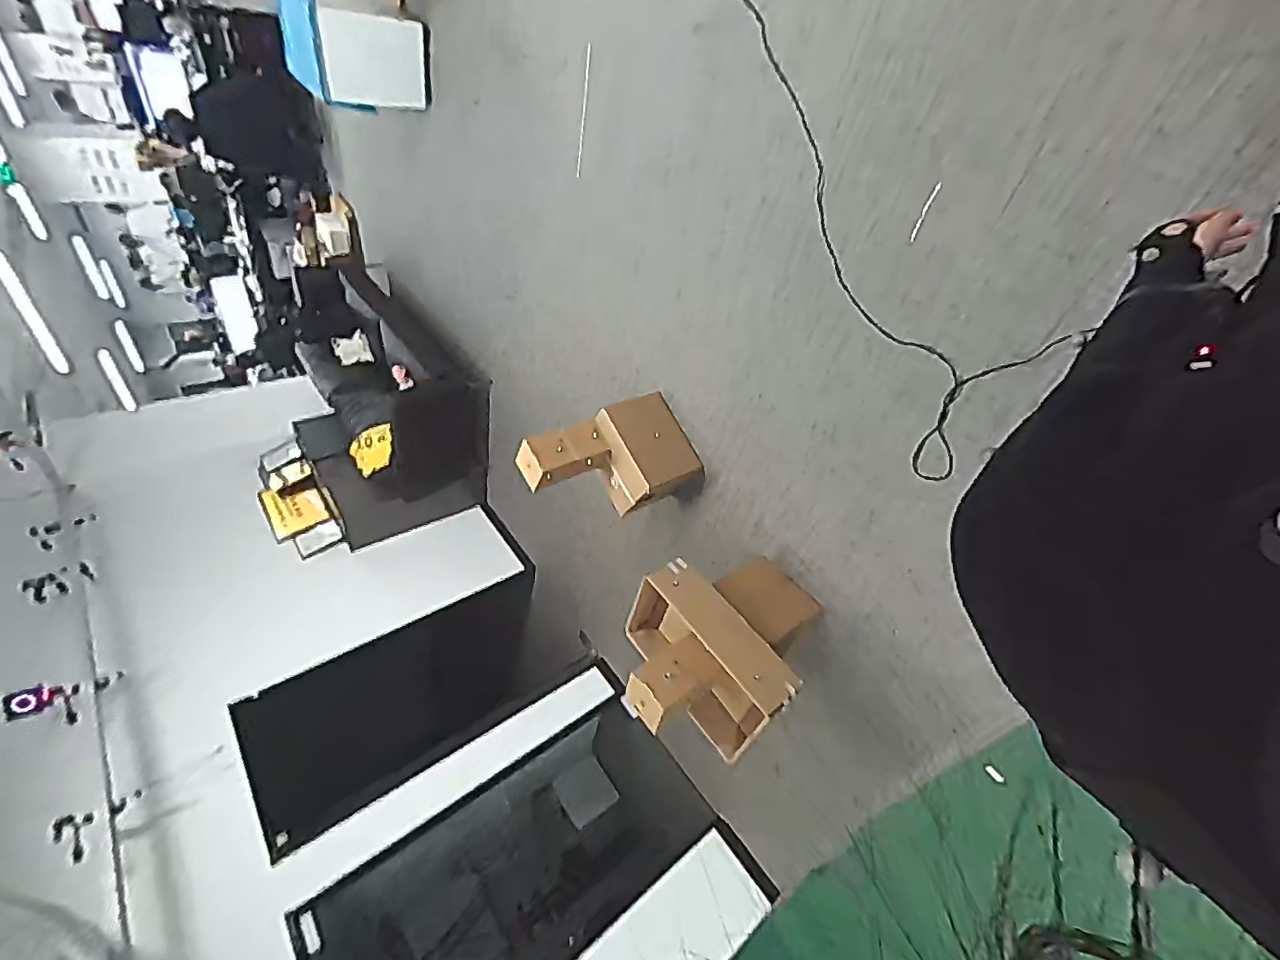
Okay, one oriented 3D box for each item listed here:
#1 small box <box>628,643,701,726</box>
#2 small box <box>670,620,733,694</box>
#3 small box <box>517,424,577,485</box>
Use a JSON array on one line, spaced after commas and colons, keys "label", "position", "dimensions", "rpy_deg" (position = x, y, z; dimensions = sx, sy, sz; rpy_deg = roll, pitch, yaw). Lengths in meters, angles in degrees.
[{"label": "small box", "position": [0.085, 0.693, 1.851], "dimensions": [0.168, 0.176, 0.179], "rpy_deg": [43, 138, 32]}, {"label": "small box", "position": [0.208, 0.640, 1.946], "dimensions": [0.168, 0.176, 0.179], "rpy_deg": [44, 139, 30]}, {"label": "small box", "position": [-0.382, -0.108, 2.234], "dimensions": [0.168, 0.176, 0.179], "rpy_deg": [57, 145, 15]}]
